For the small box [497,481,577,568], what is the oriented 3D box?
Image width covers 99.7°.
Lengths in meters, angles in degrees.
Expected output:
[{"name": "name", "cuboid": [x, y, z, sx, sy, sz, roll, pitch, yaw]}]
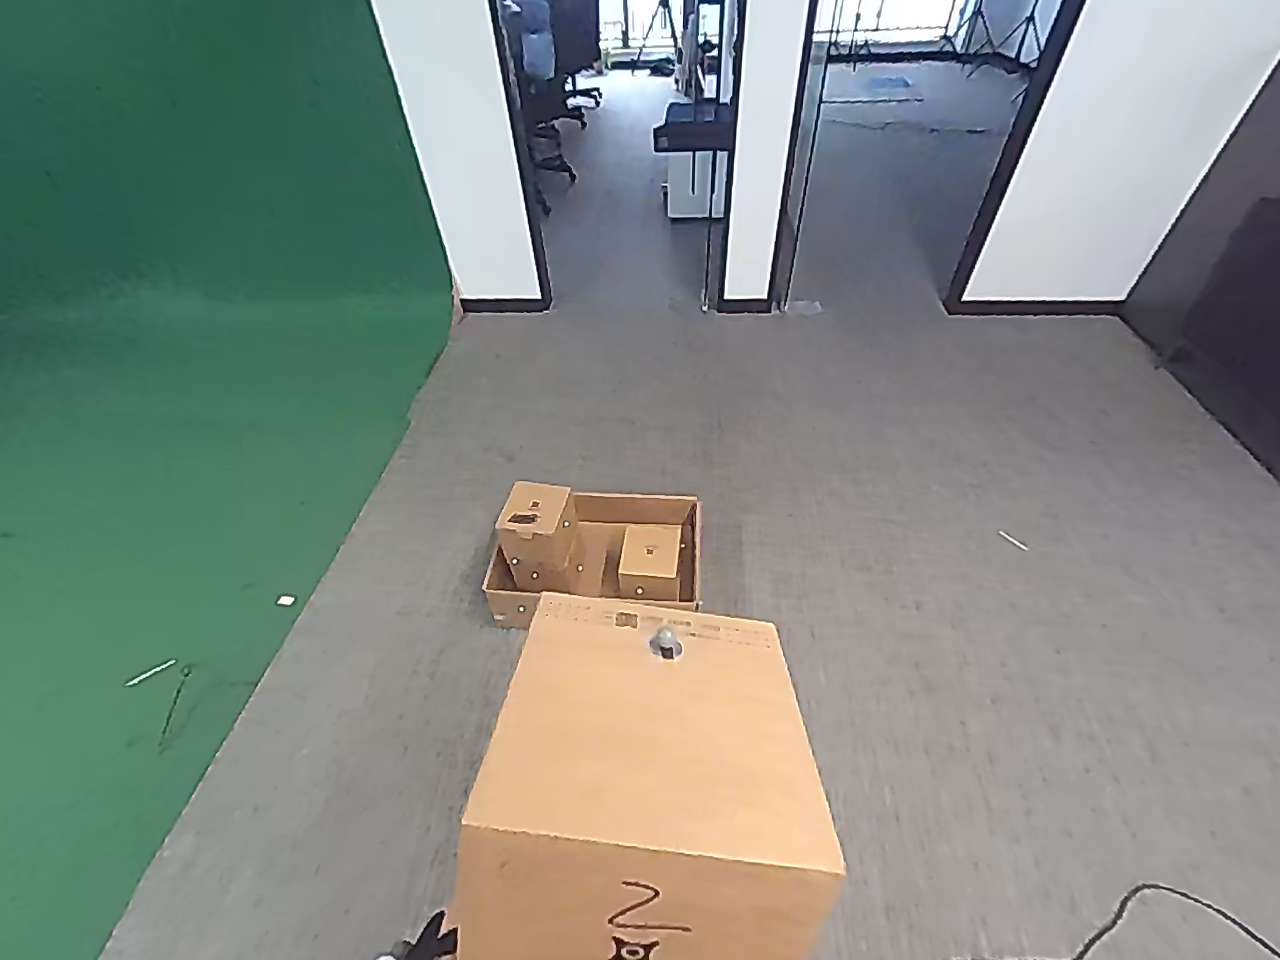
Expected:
[{"name": "small box", "cuboid": [-0.284, 0.130, 1.537, 0.168, 0.176, 0.179, 7, 46, 9]}]
